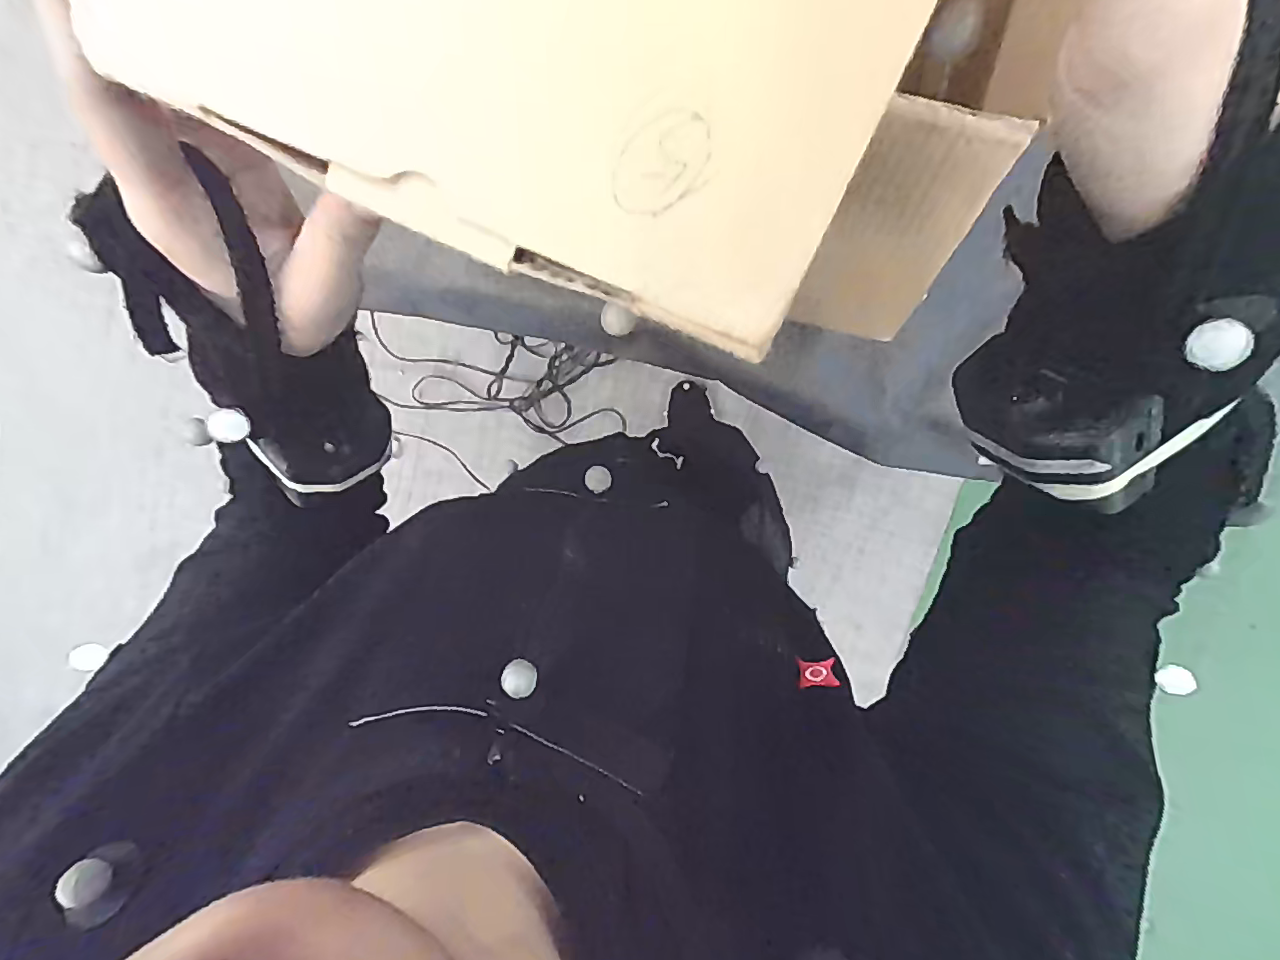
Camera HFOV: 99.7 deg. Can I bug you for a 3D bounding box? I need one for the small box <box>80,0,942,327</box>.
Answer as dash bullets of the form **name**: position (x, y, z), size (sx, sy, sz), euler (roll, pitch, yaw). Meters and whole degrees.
- **small box**: position (0.000, -0.161, 0.160), size (0.168, 0.176, 0.179), euler (23, 109, 0)
